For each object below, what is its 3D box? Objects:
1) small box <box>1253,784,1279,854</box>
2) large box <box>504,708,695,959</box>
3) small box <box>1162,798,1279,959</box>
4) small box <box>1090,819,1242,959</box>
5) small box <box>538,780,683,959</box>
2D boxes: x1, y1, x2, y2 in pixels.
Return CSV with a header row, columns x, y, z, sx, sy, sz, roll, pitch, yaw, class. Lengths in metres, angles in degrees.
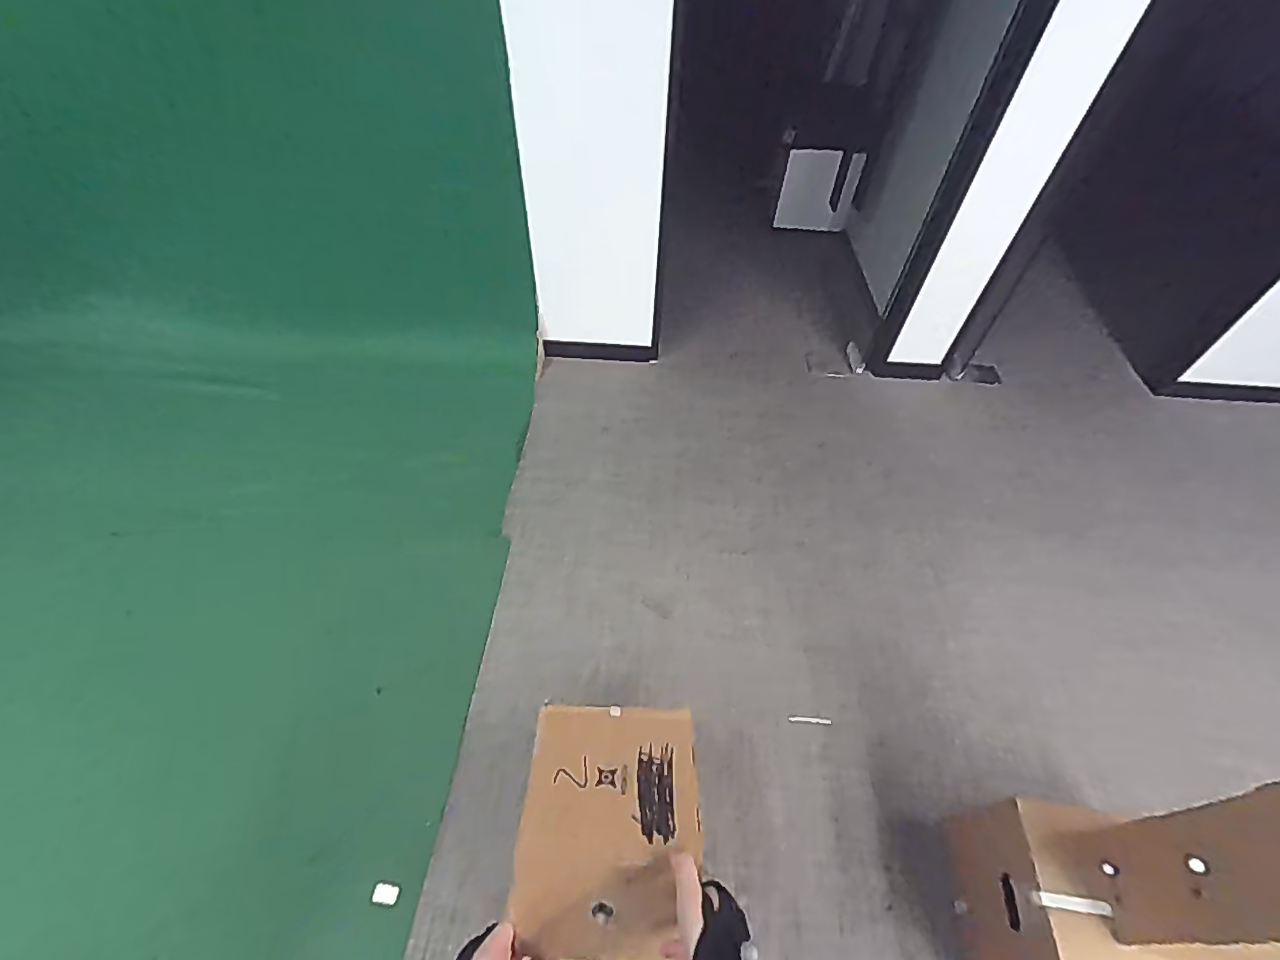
x,y,z,sx,sy,sz,roll,pitch,yaw,class
0.905,0.455,0.624,0.168,0.176,0.179,11,49,6,small box
-0.065,0.723,1.098,0.320,0.320,0.408,3,49,0,large box
0.899,0.567,0.744,0.179,0.176,0.168,11,48,7,small box
0.890,0.673,0.870,0.179,0.176,0.168,11,48,6,small box
-0.033,0.528,0.730,0.168,0.176,0.179,5,48,1,small box
